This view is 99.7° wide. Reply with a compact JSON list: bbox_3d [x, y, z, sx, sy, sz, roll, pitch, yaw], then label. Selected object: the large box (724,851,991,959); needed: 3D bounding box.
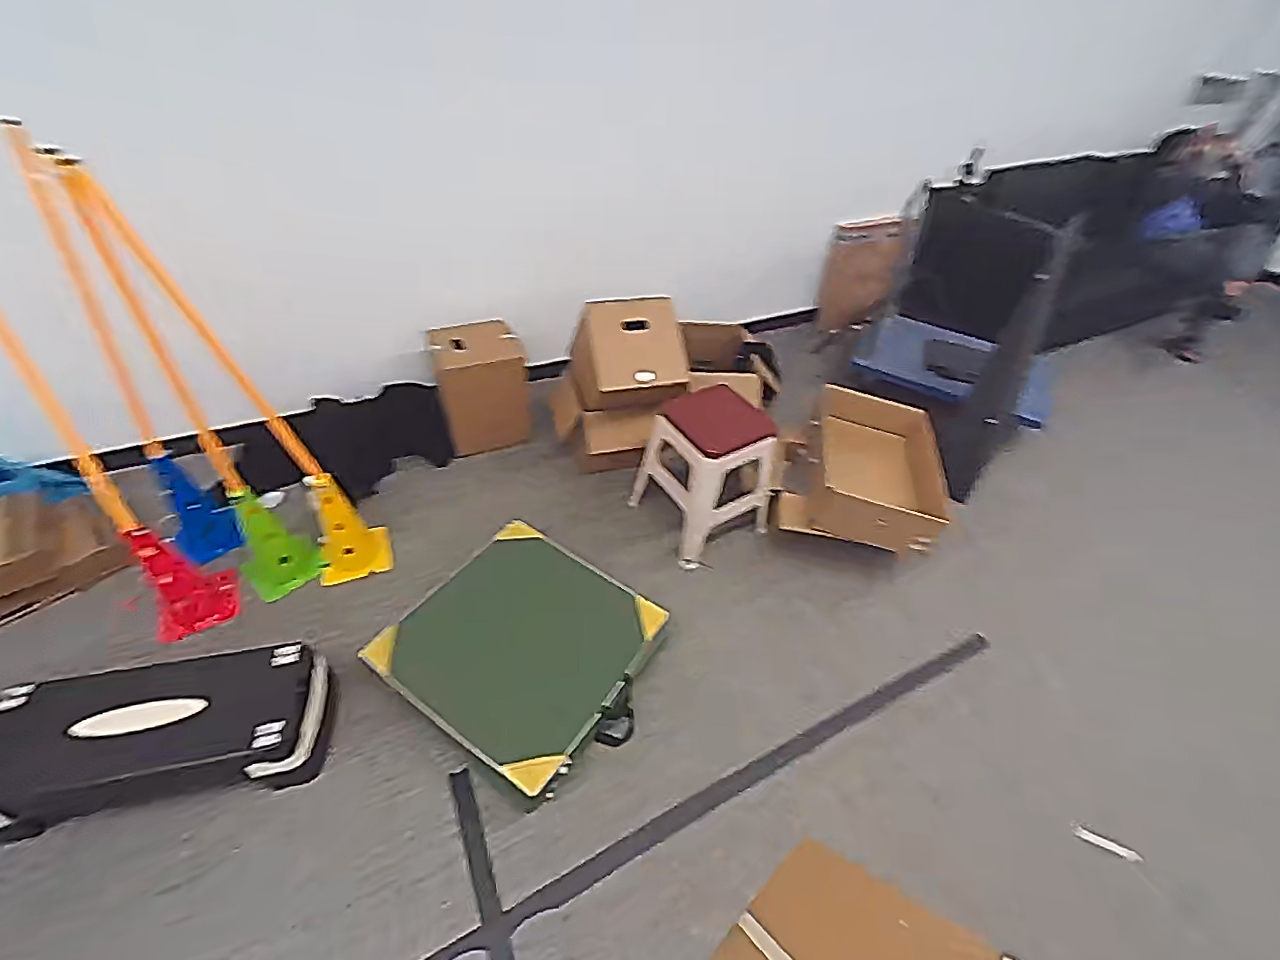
[{"bbox_3d":[0.311,0.745,0.632,0.320,0.408,0.320,-39,85,-21],"label":"large box"}]
